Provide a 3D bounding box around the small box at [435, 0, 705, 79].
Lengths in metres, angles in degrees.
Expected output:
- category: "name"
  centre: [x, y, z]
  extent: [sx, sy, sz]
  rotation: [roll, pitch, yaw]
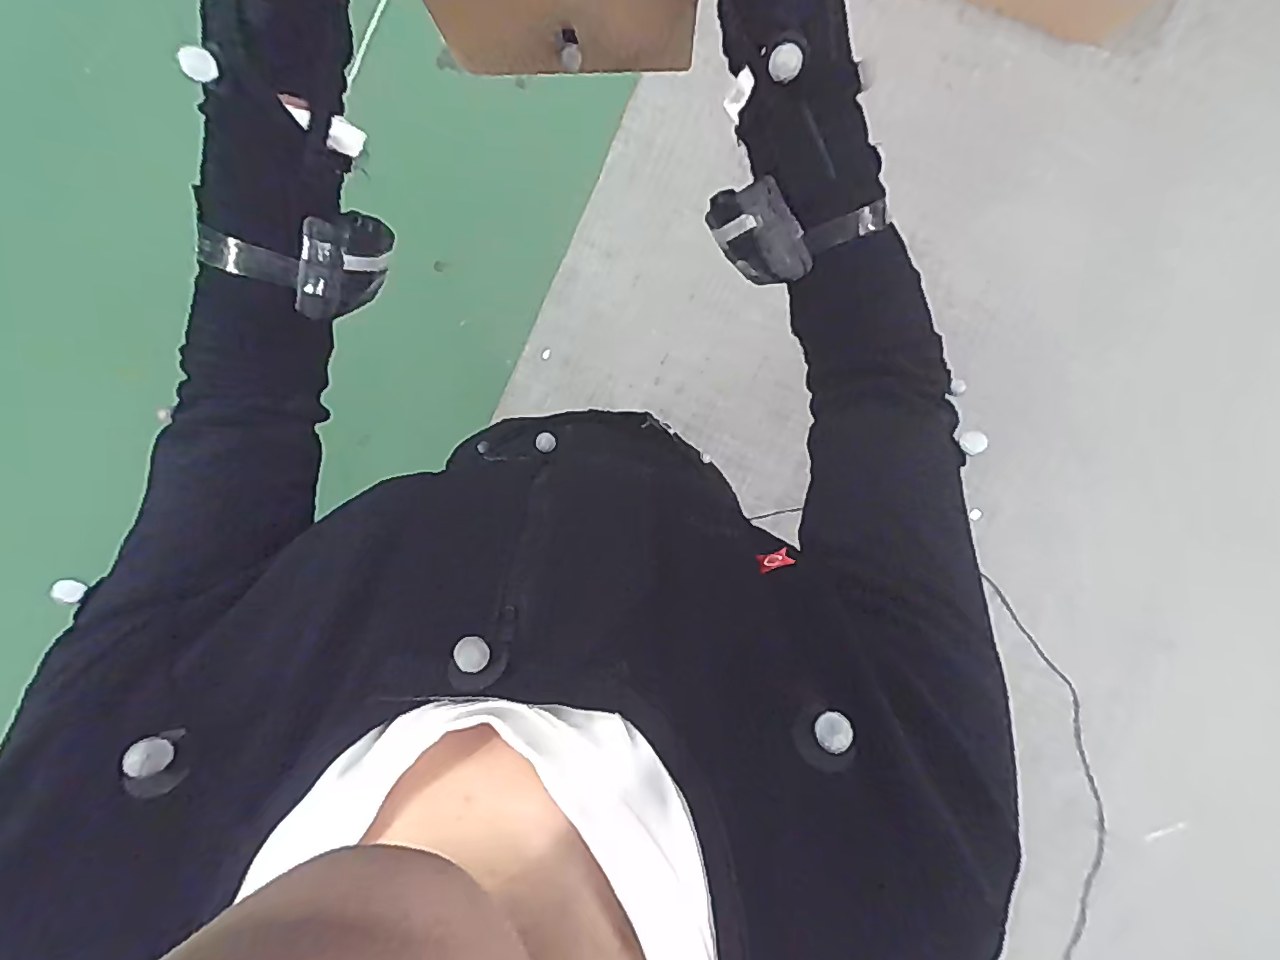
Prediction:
- category: "small box"
  centre: [-0.043, -0.377, 0.324]
  extent: [0.179, 0.176, 0.168]
  rotation: [0, 97, 2]
